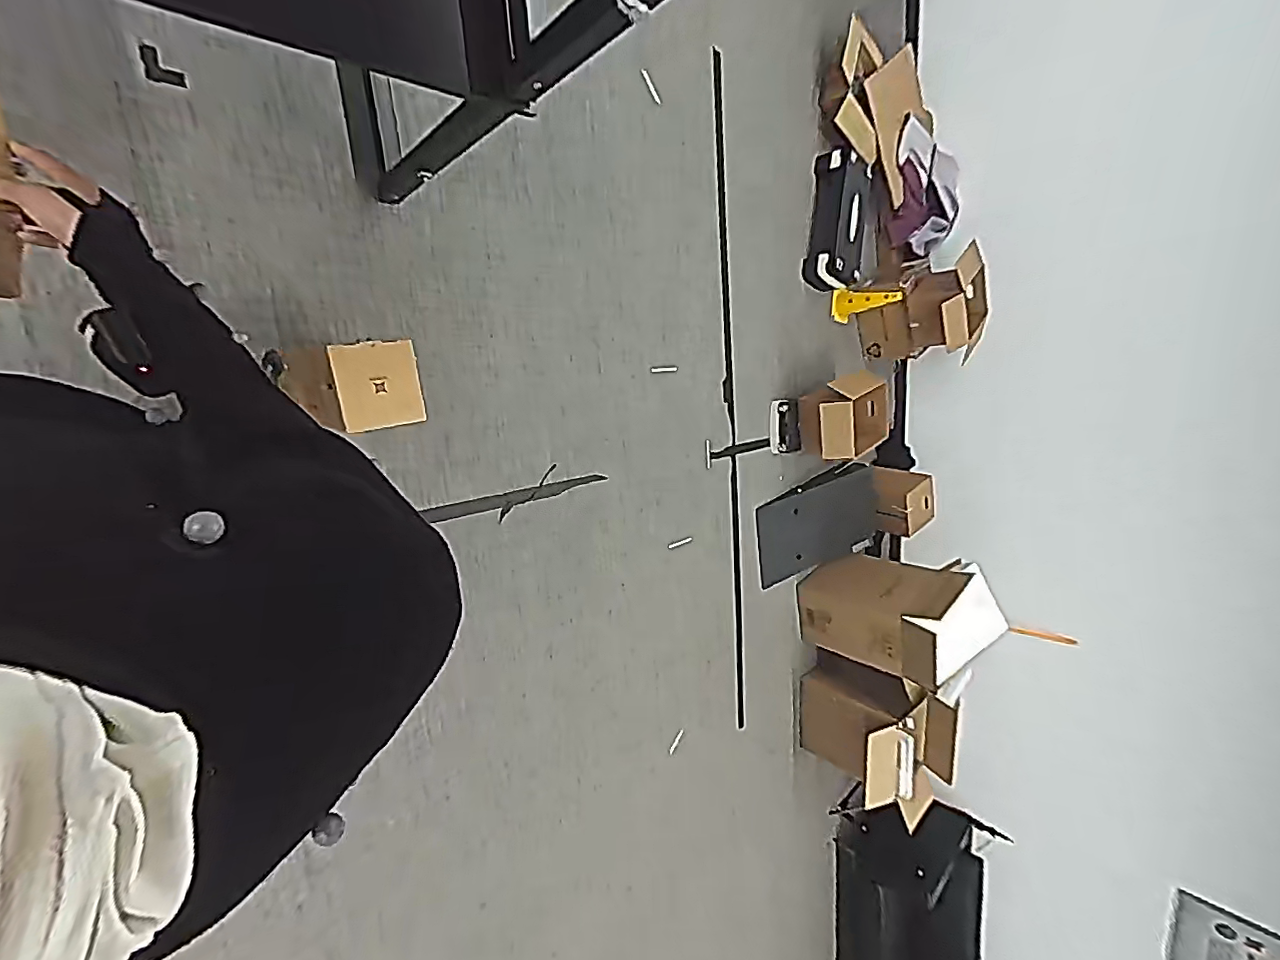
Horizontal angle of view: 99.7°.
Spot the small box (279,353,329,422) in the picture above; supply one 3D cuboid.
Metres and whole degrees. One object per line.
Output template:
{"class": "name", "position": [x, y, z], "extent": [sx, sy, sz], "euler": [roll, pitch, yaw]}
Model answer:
{"class": "small box", "position": [-0.803, -0.245, 1.399], "extent": [0.179, 0.176, 0.168], "euler": [-16, 107, -40]}

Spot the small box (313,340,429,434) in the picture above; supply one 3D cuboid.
{"class": "small box", "position": [-0.579, -0.203, 1.164], "extent": [0.168, 0.176, 0.179], "euler": [-19, 109, -39]}

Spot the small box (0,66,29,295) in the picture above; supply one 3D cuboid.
{"class": "small box", "position": [-0.670, -0.284, 0.472], "extent": [0.168, 0.176, 0.179], "euler": [-12, 85, -51]}
